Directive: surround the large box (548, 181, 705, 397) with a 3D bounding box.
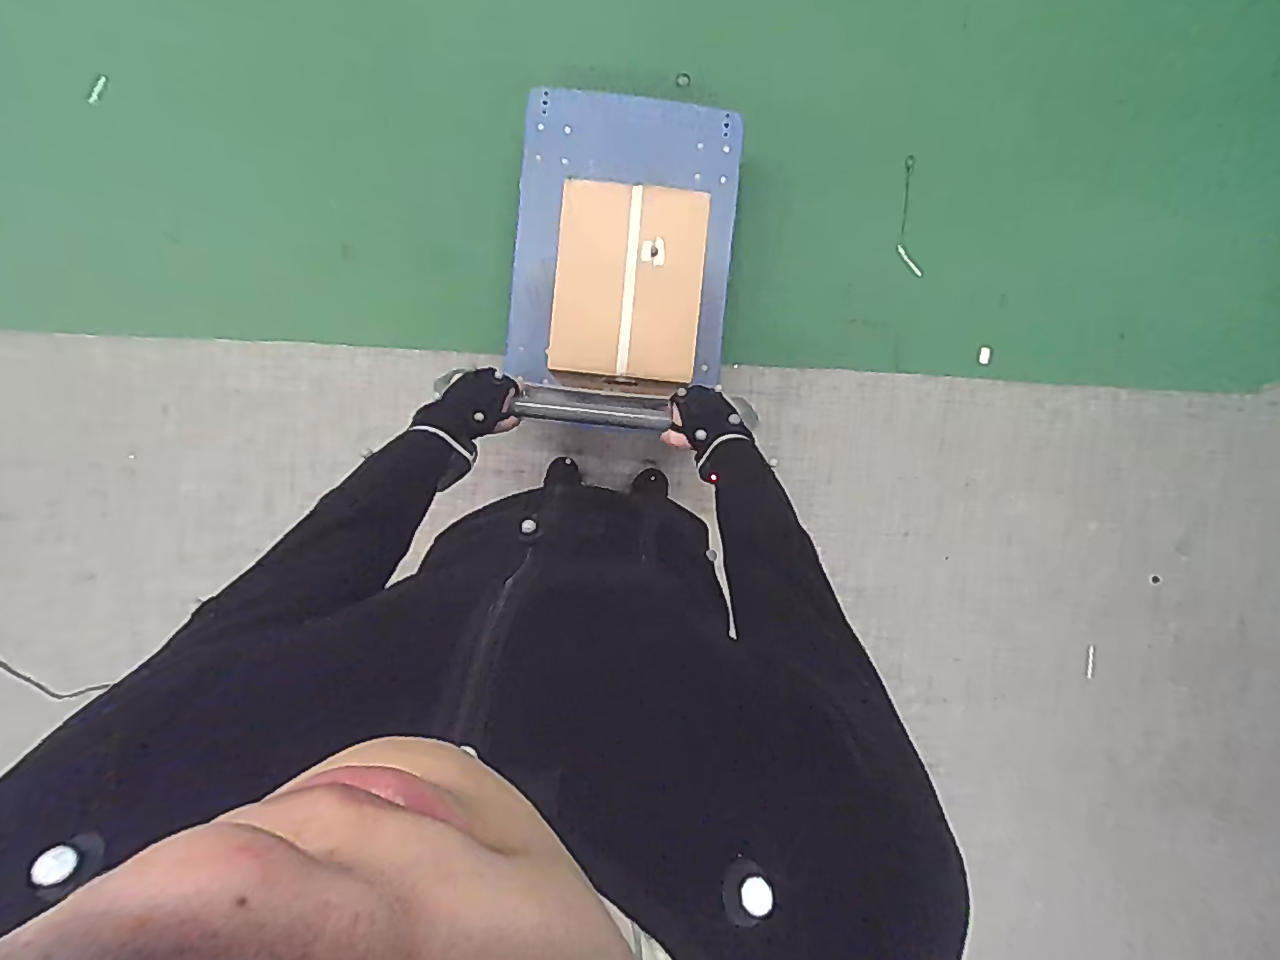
[{"bbox_3d":[-0.032,-0.425,1.297,0.320,0.320,0.408,5,91,-3],"label":"large box"}]
